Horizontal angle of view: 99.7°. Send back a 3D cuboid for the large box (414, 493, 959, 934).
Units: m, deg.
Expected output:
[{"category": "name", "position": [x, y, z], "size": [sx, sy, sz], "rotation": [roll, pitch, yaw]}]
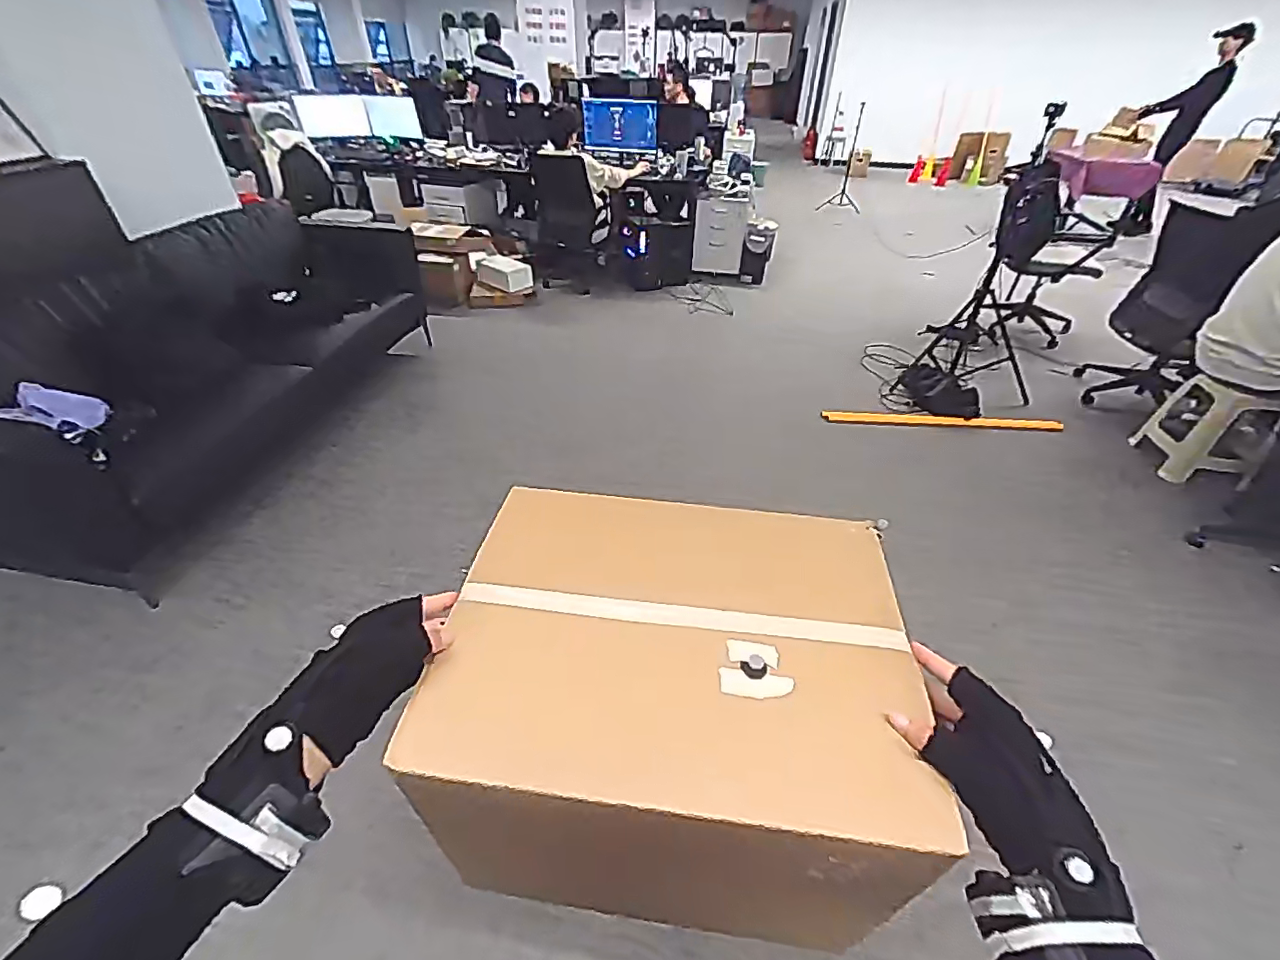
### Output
[{"category": "large box", "position": [0.038, 0.243, 0.594], "size": [0.408, 0.320, 0.320], "rotation": [6, 41, 5]}]
